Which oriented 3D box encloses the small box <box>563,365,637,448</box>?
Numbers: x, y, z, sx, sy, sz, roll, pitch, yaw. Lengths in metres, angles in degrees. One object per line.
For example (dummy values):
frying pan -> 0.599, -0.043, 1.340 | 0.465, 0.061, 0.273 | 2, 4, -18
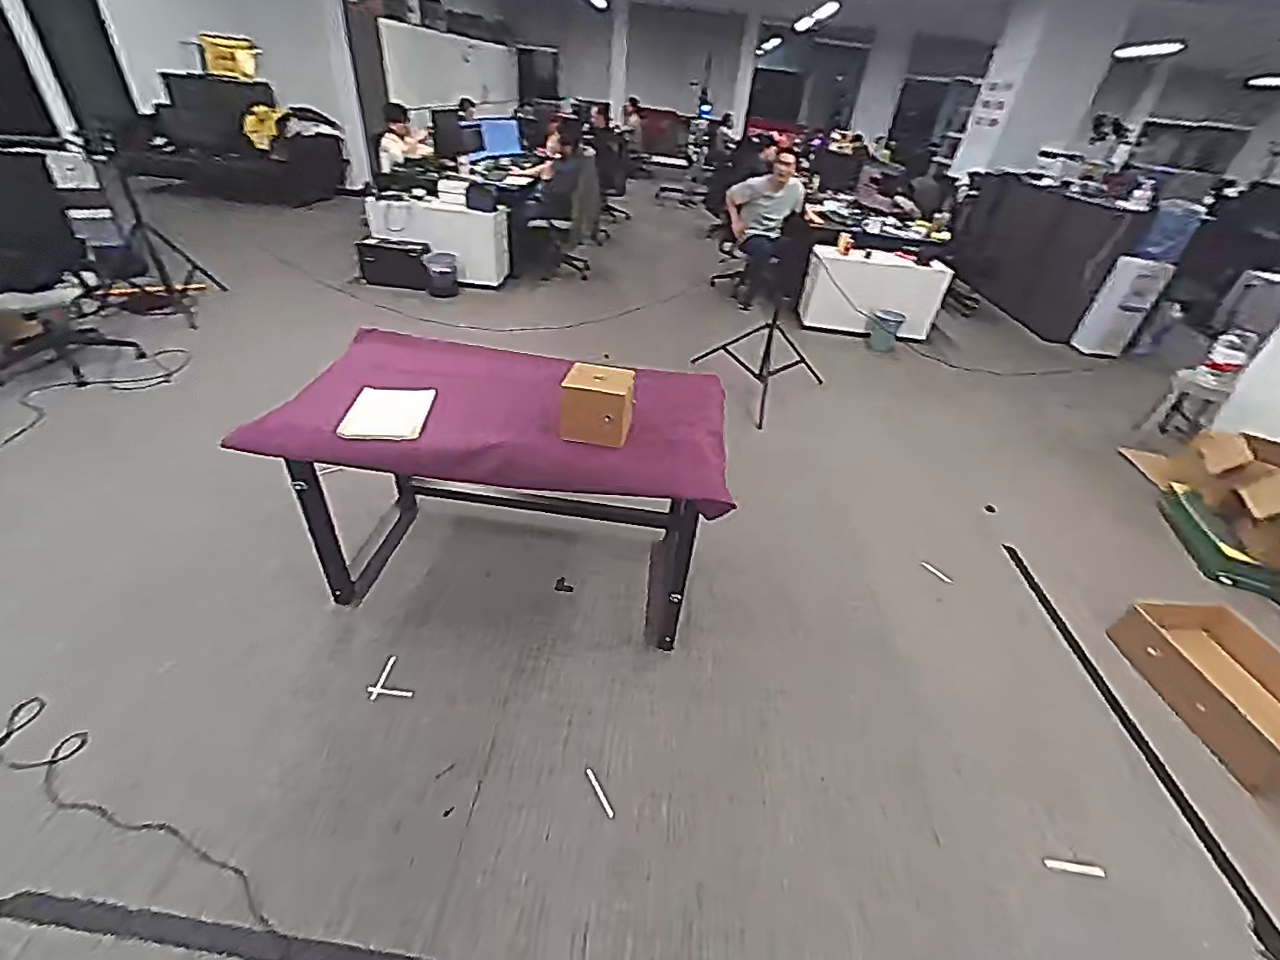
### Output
small box -> -0.111, -0.206, 1.522 | 0.179, 0.176, 0.168 | 8, 34, 5
